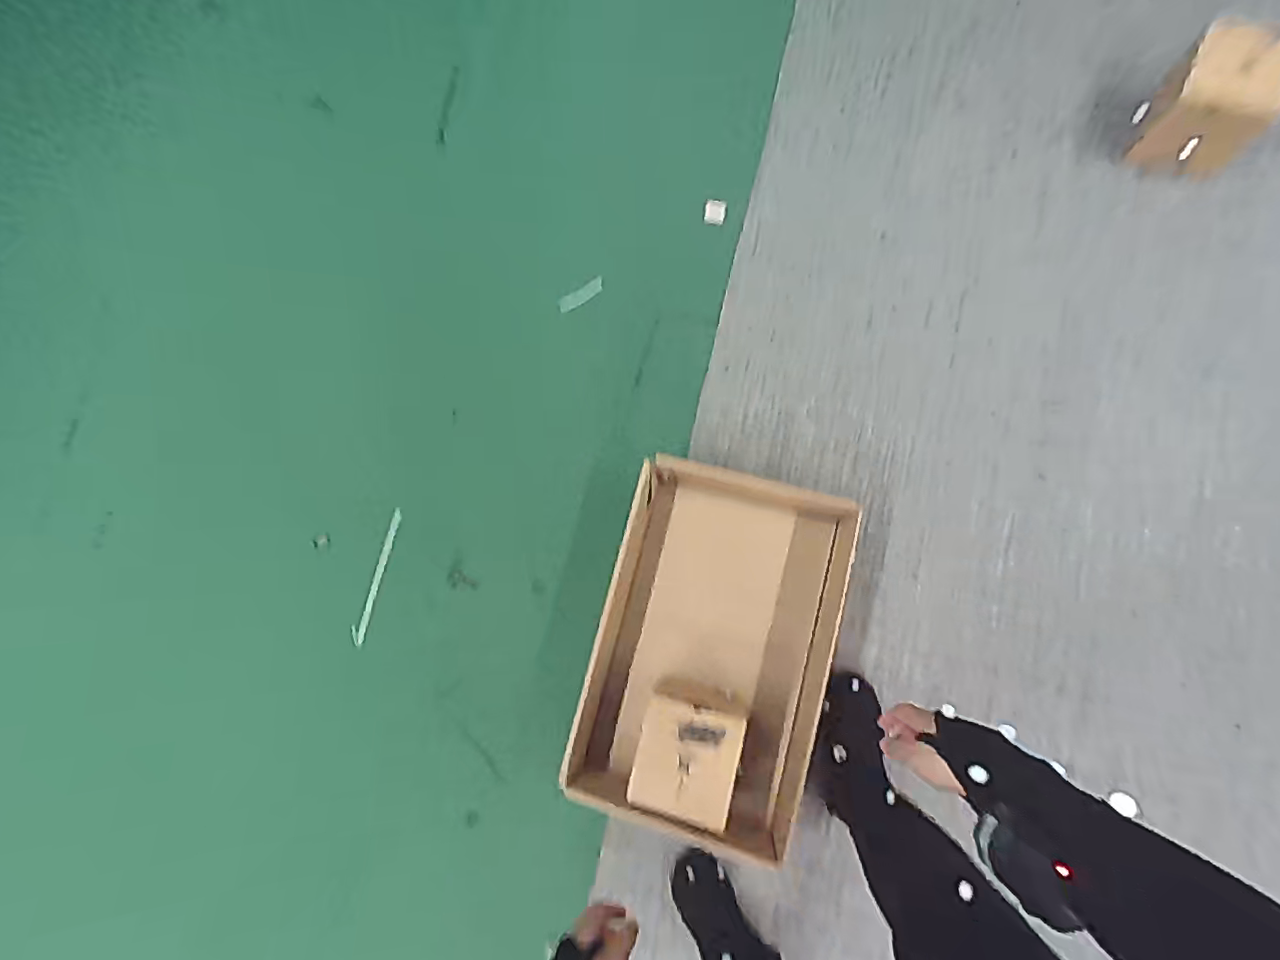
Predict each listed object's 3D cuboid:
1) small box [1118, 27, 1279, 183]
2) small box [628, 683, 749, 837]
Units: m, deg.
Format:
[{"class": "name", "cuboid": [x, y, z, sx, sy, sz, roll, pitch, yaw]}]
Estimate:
[{"class": "small box", "cuboid": [1.108, -0.732, 1.072, 0.168, 0.176, 0.179, 24, 84, 13]}, {"class": "small box", "cuboid": [0.089, 0.475, 0.951, 0.168, 0.176, 0.179, 13, 82, 11]}]
